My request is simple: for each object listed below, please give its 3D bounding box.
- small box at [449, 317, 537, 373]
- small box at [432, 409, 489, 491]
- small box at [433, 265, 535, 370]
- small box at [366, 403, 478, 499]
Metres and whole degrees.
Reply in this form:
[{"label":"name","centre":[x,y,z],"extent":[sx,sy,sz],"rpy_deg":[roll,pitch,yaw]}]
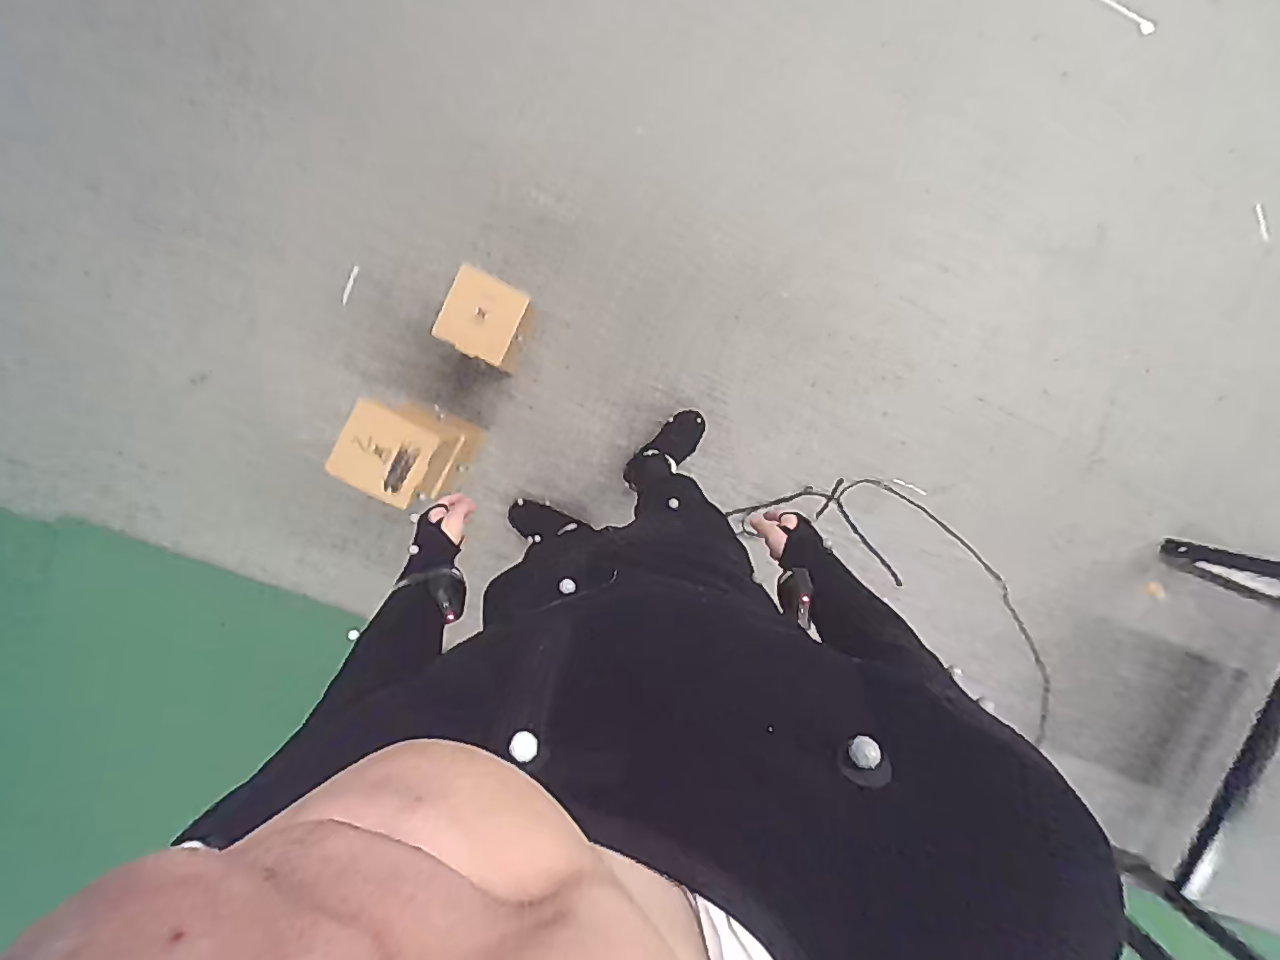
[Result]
[{"label":"small box","centre":[-0.386,-0.398,1.455],"extent":[0.168,0.176,0.179],"rpy_deg":[23,95,-8]},{"label":"small box","centre":[-0.535,-0.090,1.477],"extent":[0.179,0.176,0.168],"rpy_deg":[27,94,-7]},{"label":"small box","centre":[-0.362,-0.377,1.294],"extent":[0.168,0.176,0.179],"rpy_deg":[26,94,-8]},{"label":"small box","centre":[-0.518,-0.076,1.313],"extent":[0.179,0.176,0.168],"rpy_deg":[28,93,-7]}]
